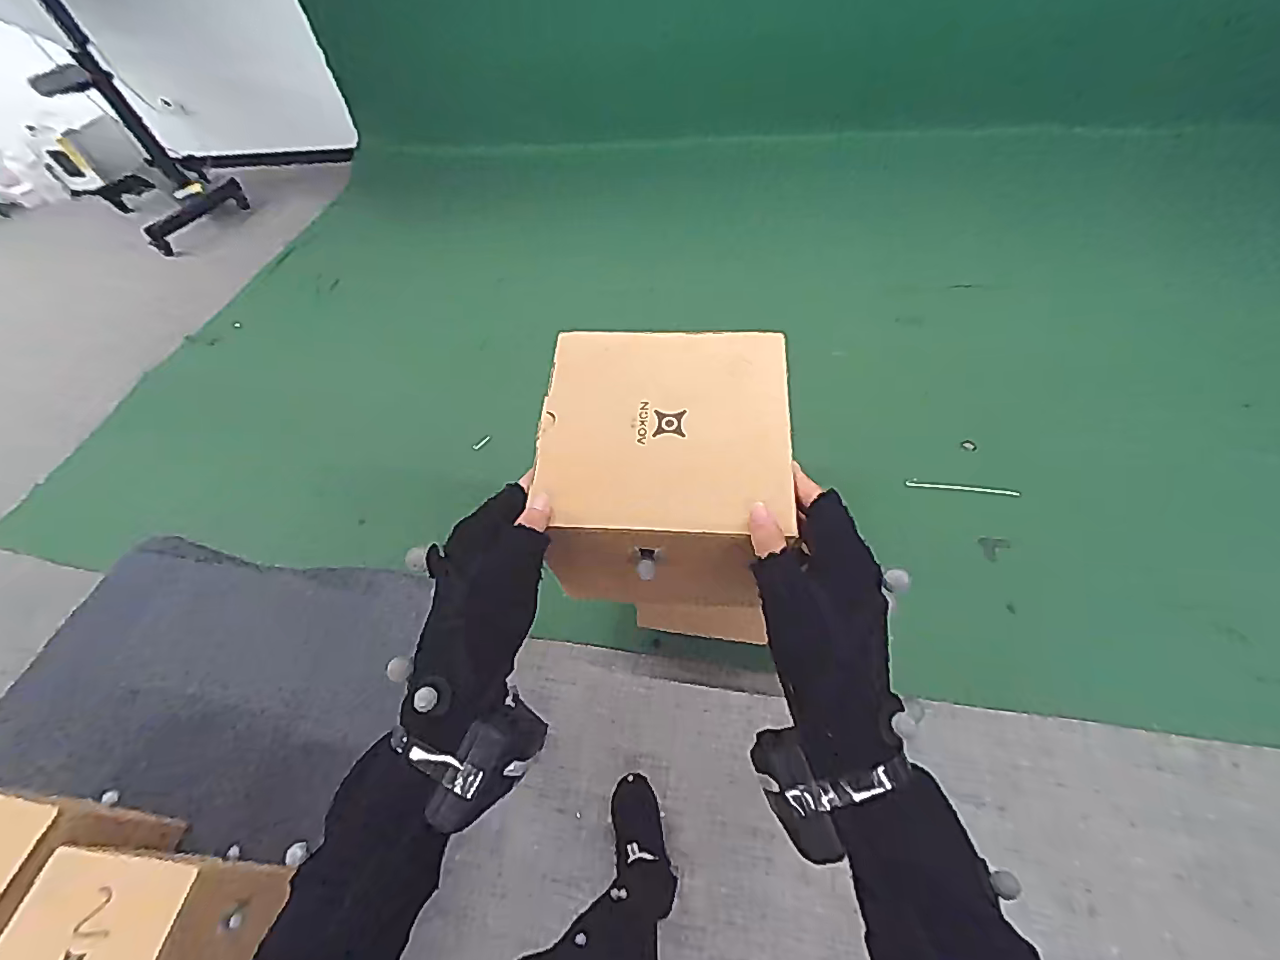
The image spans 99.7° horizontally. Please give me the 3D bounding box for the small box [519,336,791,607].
[{"bbox_3d":[0.020,0.001,0.448,0.179,0.176,0.168,1,61,7],"label":"small box"}]
